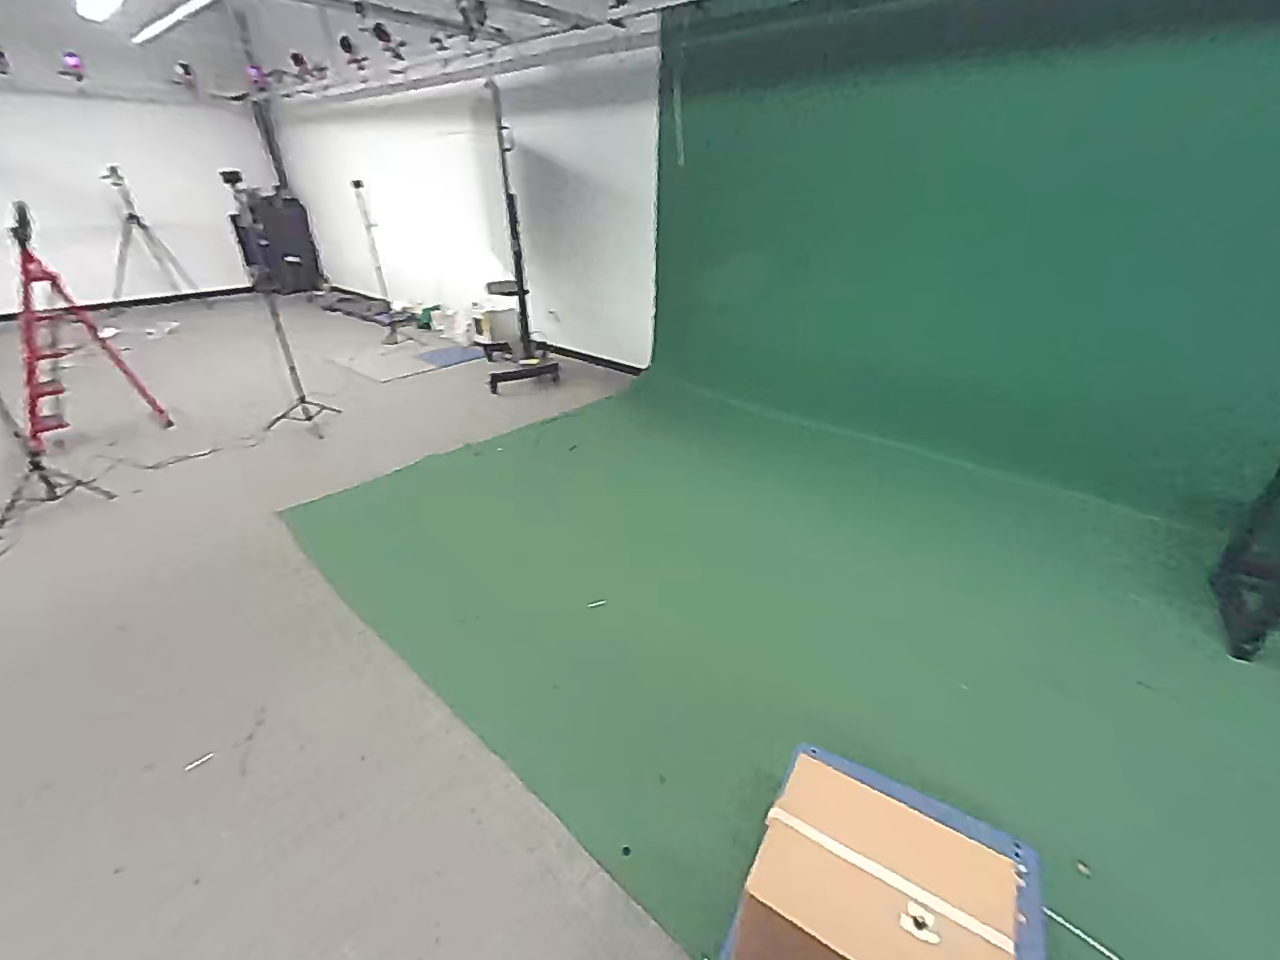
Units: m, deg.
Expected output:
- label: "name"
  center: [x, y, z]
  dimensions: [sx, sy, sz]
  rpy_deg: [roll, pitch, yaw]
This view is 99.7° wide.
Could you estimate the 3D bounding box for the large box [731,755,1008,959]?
- label: "large box"
  center: [0.431, 0.842, 1.051]
  dimensions: [0.408, 0.320, 0.320]
  rpy_deg: [18, 33, 28]
